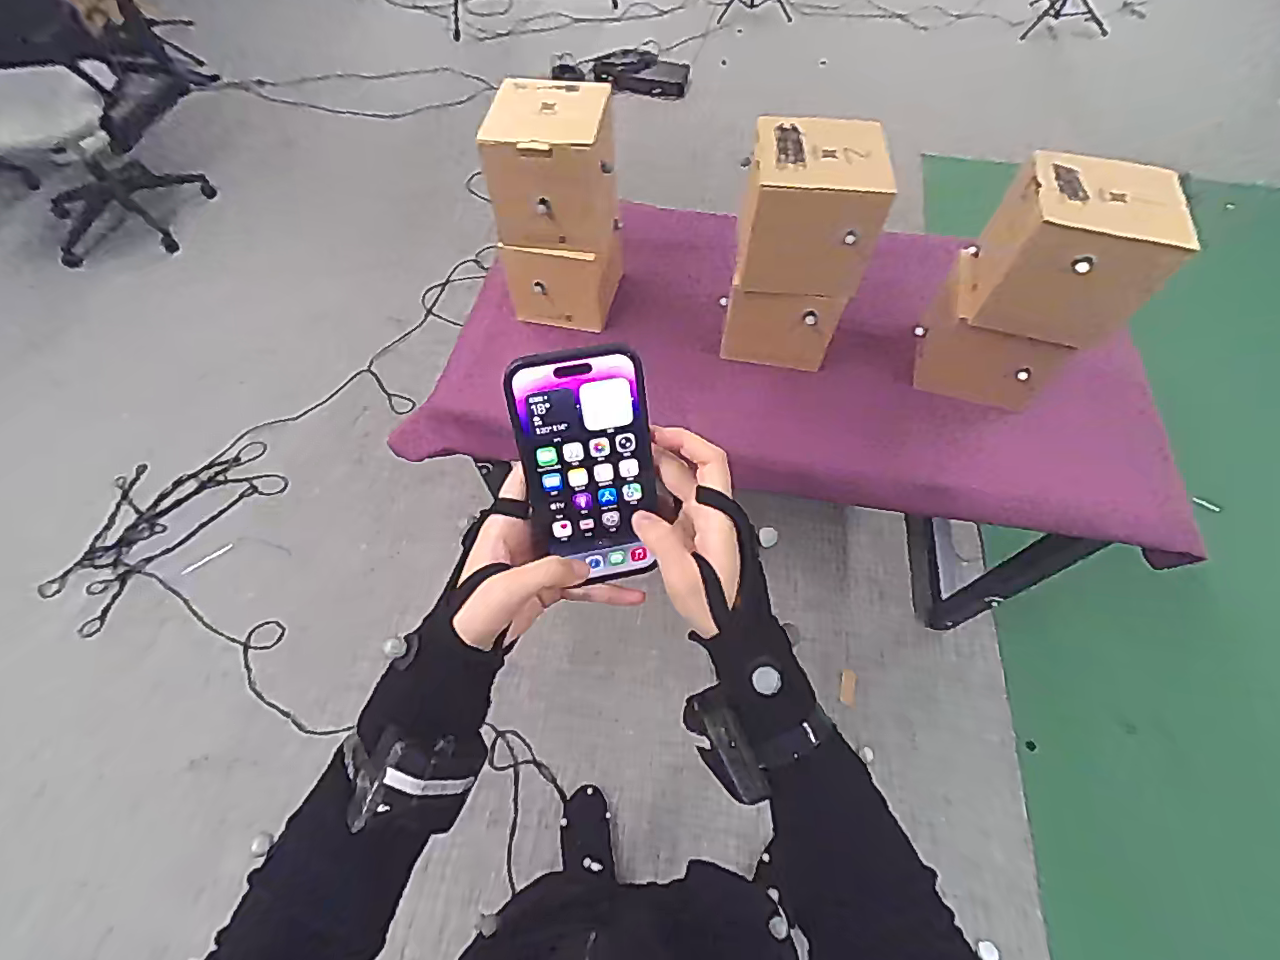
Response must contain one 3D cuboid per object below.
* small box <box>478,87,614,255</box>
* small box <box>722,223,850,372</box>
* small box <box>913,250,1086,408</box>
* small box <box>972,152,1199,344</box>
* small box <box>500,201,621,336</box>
[{"bbox_3d":[-0.133,-0.479,0.850,0.168,0.176,0.179,6,60,4],"label":"small box"},{"bbox_3d":[0.246,-0.308,0.930,0.179,0.176,0.168,9,60,7],"label":"small box"},{"bbox_3d":[0.577,-0.240,0.885,0.179,0.176,0.168,15,60,10],"label":"small box"},{"bbox_3d":[0.580,-0.309,0.737,0.179,0.176,0.168,15,60,9],"label":"small box"},{"bbox_3d":[-0.132,-0.388,0.987,0.168,0.176,0.179,10,60,7],"label":"small box"}]
